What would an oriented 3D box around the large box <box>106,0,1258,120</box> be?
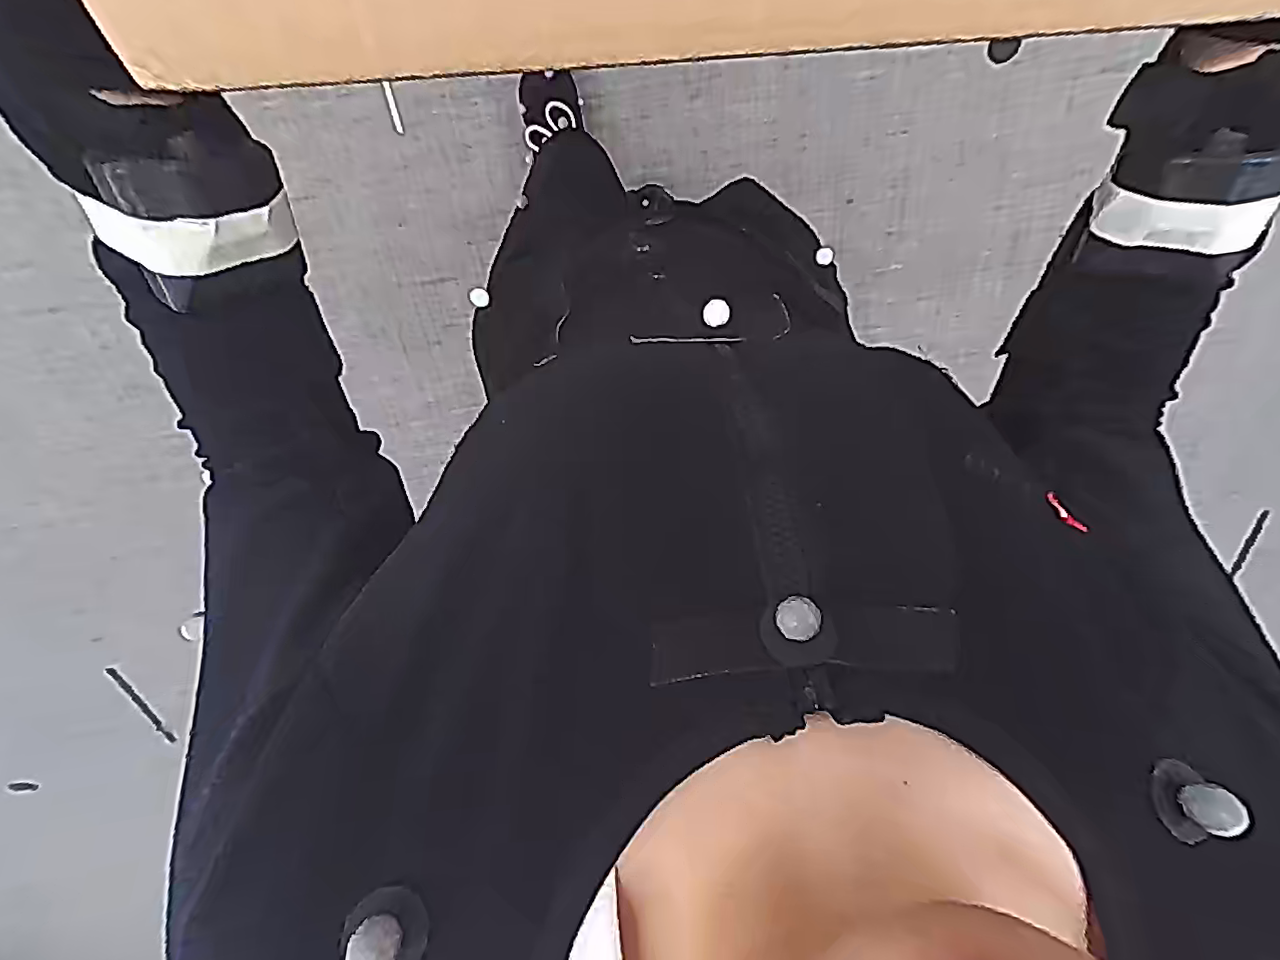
[{"bbox_3d":[0.010,-0.361,0.191,0.408,0.320,0.320,-4,135,0],"label":"large box"}]
